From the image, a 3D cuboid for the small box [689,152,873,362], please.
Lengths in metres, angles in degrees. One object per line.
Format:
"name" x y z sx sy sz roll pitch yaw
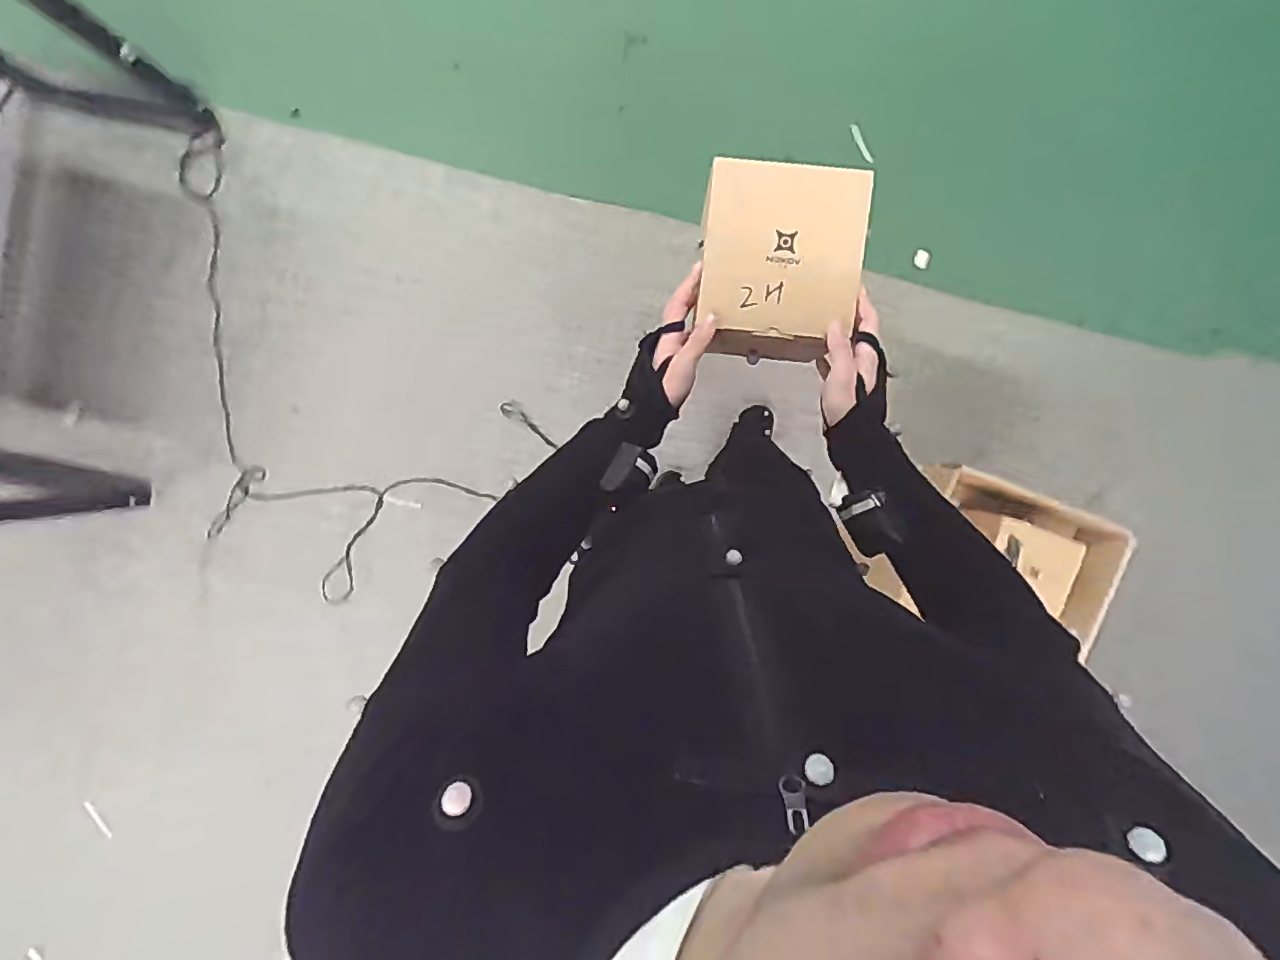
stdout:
"small box" 0.149 -0.244 0.631 0.168 0.176 0.179 6 95 2
